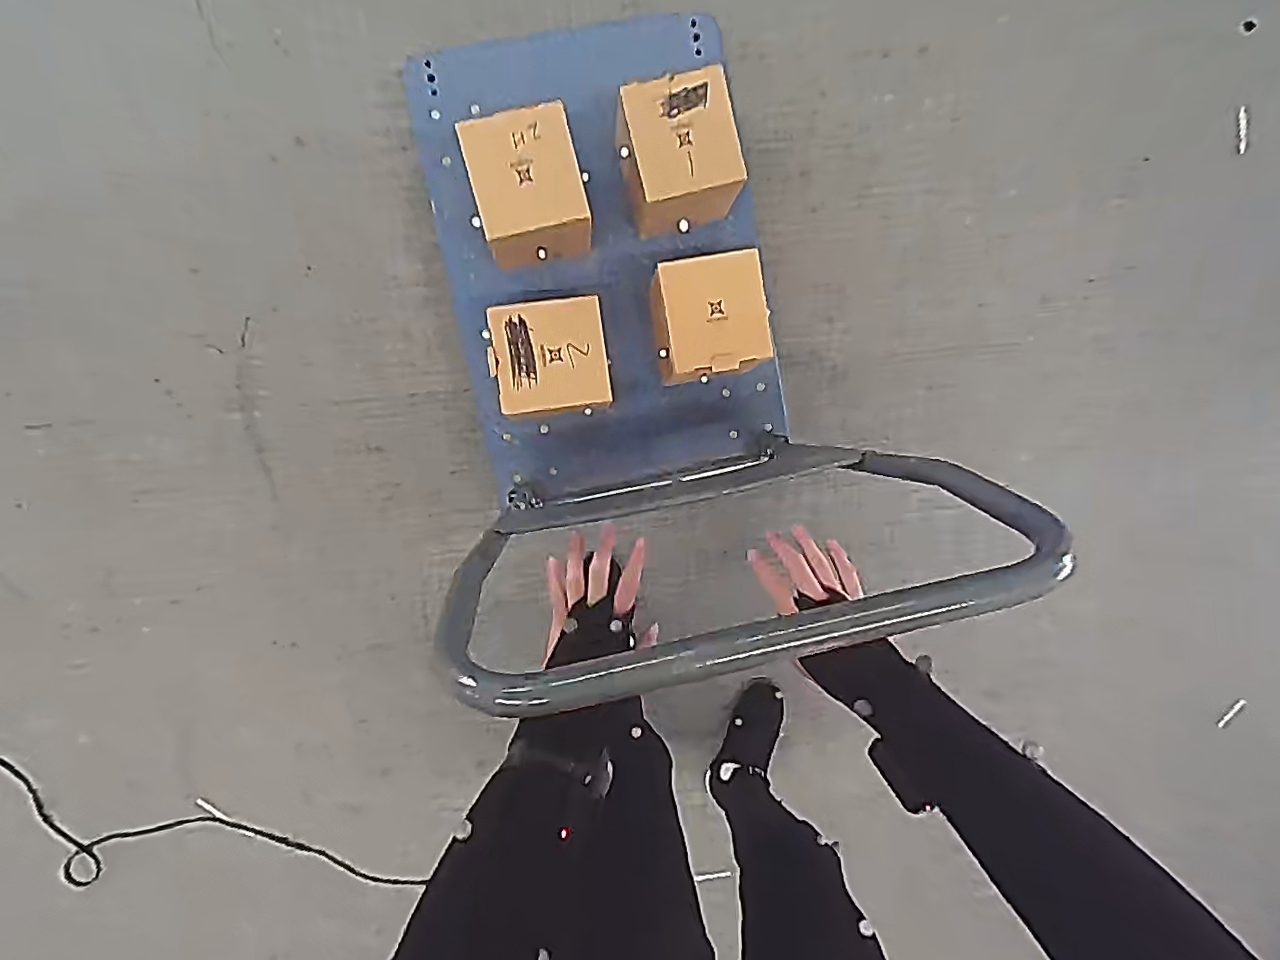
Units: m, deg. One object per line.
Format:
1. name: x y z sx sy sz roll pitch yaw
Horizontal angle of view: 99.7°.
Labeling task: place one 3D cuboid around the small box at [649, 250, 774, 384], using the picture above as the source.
1. small box: 0.115 -0.271 0.934 0.168 0.176 0.179 -10 96 -4

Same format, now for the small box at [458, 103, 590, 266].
1. small box: -0.179 -0.470 0.892 0.168 0.176 0.179 -14 95 -4

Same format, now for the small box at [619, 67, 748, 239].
1. small box: 0.064 -0.536 0.908 0.168 0.176 0.179 -15 96 -3
